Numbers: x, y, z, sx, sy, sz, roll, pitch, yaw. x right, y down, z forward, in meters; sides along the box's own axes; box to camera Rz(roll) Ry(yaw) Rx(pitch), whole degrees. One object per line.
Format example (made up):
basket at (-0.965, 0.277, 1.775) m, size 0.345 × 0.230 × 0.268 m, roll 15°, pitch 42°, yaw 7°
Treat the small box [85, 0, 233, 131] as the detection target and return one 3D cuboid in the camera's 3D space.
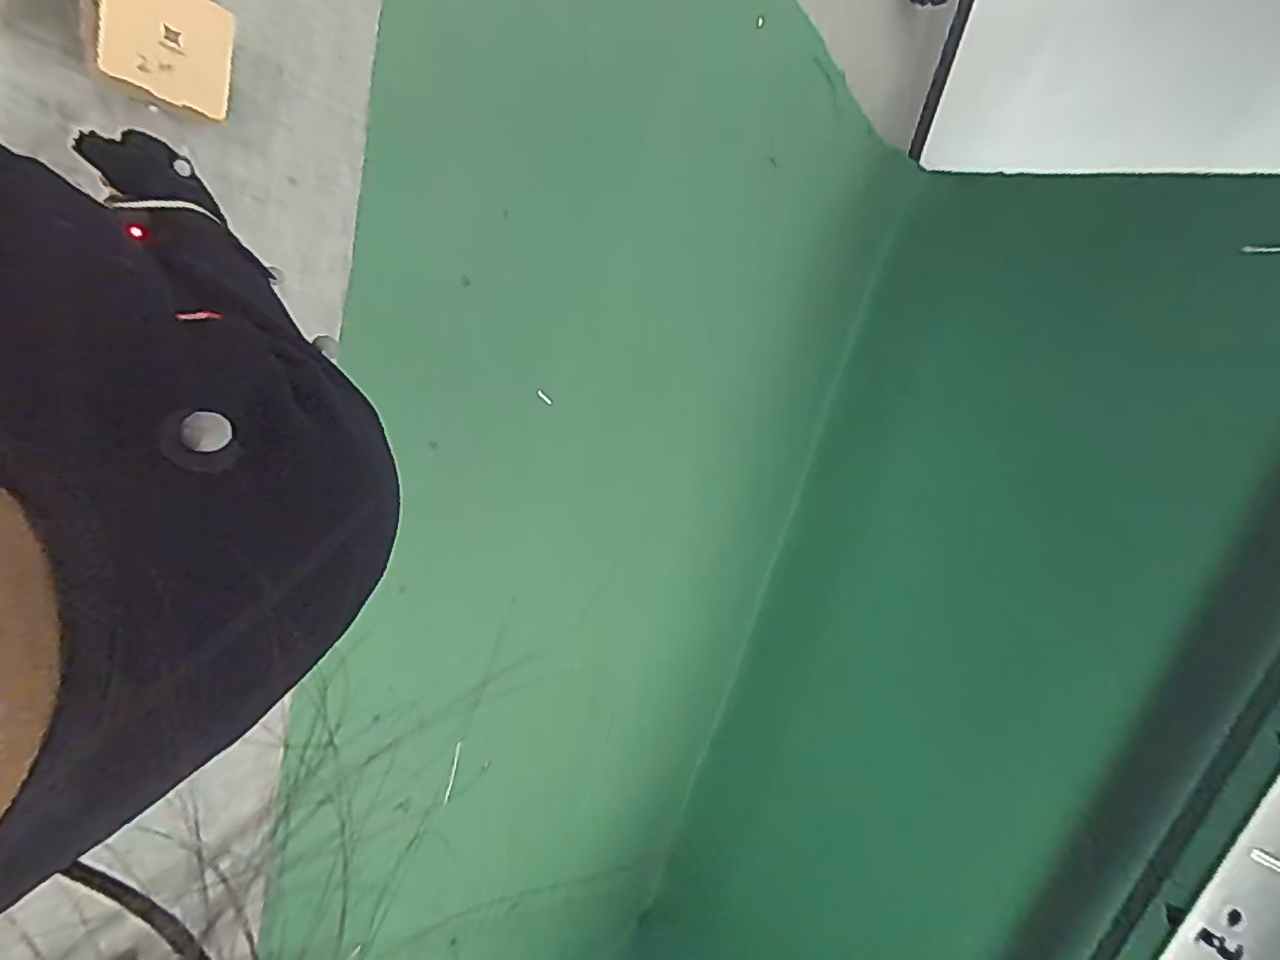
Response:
small box at (-0.841, -0.743, 0.943) m, size 0.168 × 0.176 × 0.179 m, roll 1°, pitch 109°, yaw -50°
